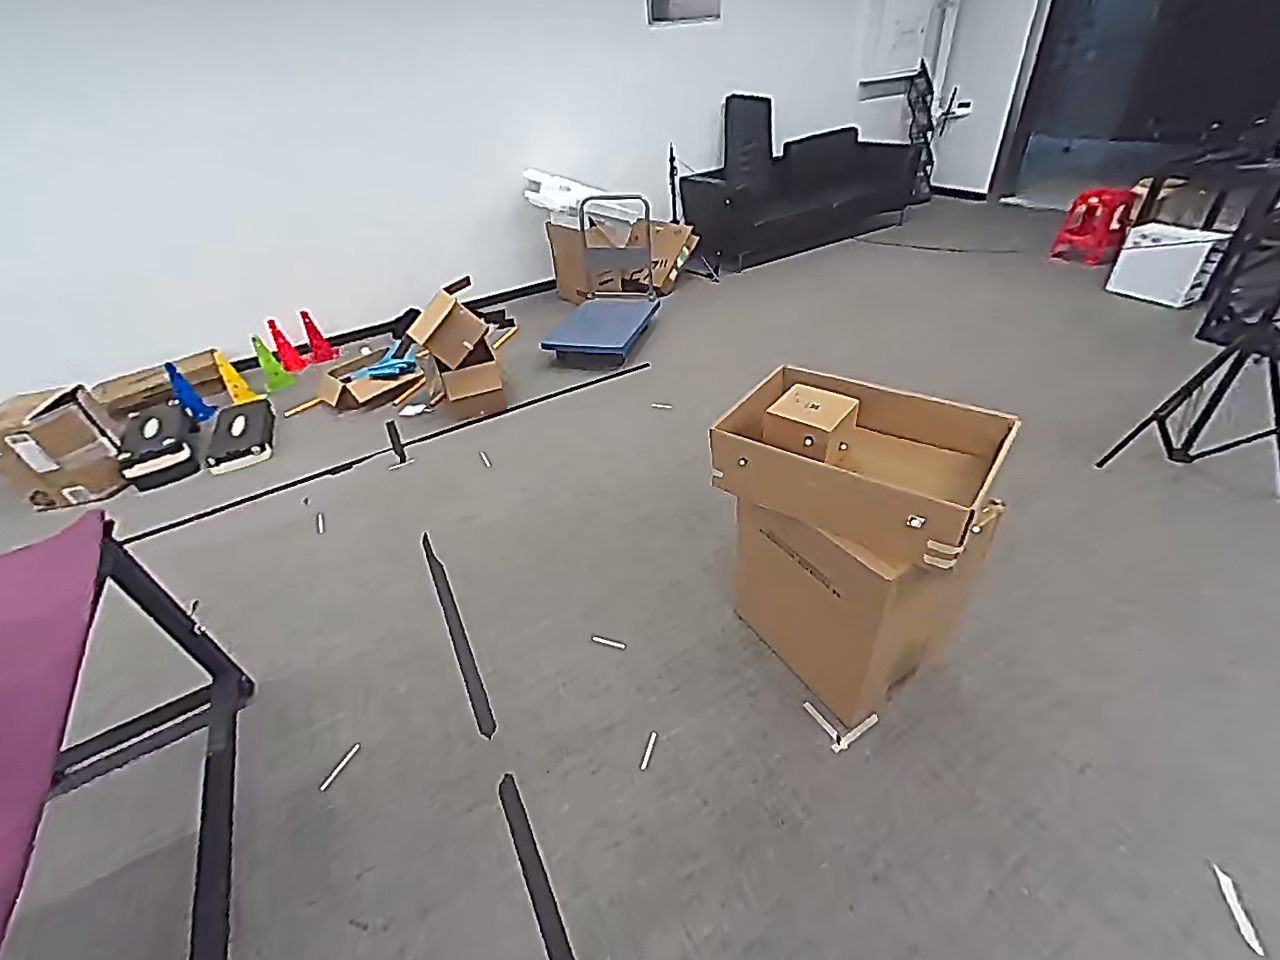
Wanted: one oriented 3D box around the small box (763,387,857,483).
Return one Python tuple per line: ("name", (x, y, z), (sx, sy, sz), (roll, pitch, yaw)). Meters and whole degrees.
("small box", (0.436, -0.114, 1.401), (0.179, 0.176, 0.168), (24, 48, 34))
